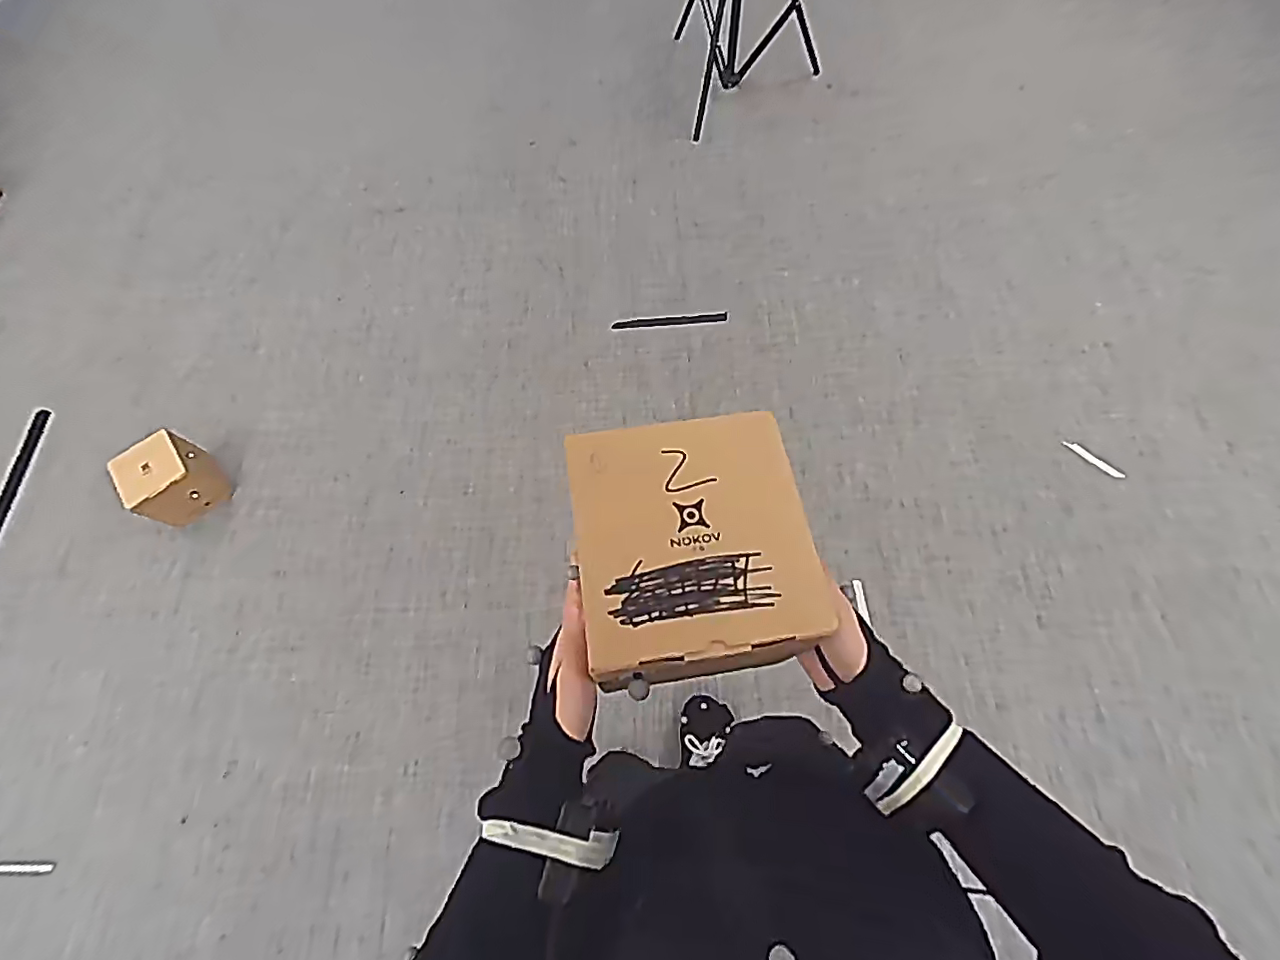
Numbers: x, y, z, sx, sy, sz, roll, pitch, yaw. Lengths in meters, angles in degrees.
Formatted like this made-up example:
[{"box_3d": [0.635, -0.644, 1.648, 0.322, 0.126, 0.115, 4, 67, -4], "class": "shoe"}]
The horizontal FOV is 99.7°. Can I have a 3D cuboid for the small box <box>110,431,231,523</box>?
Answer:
[{"box_3d": [-1.301, 0.002, 1.510, 0.168, 0.176, 0.179, -38, 70, -12], "class": "small box"}]
